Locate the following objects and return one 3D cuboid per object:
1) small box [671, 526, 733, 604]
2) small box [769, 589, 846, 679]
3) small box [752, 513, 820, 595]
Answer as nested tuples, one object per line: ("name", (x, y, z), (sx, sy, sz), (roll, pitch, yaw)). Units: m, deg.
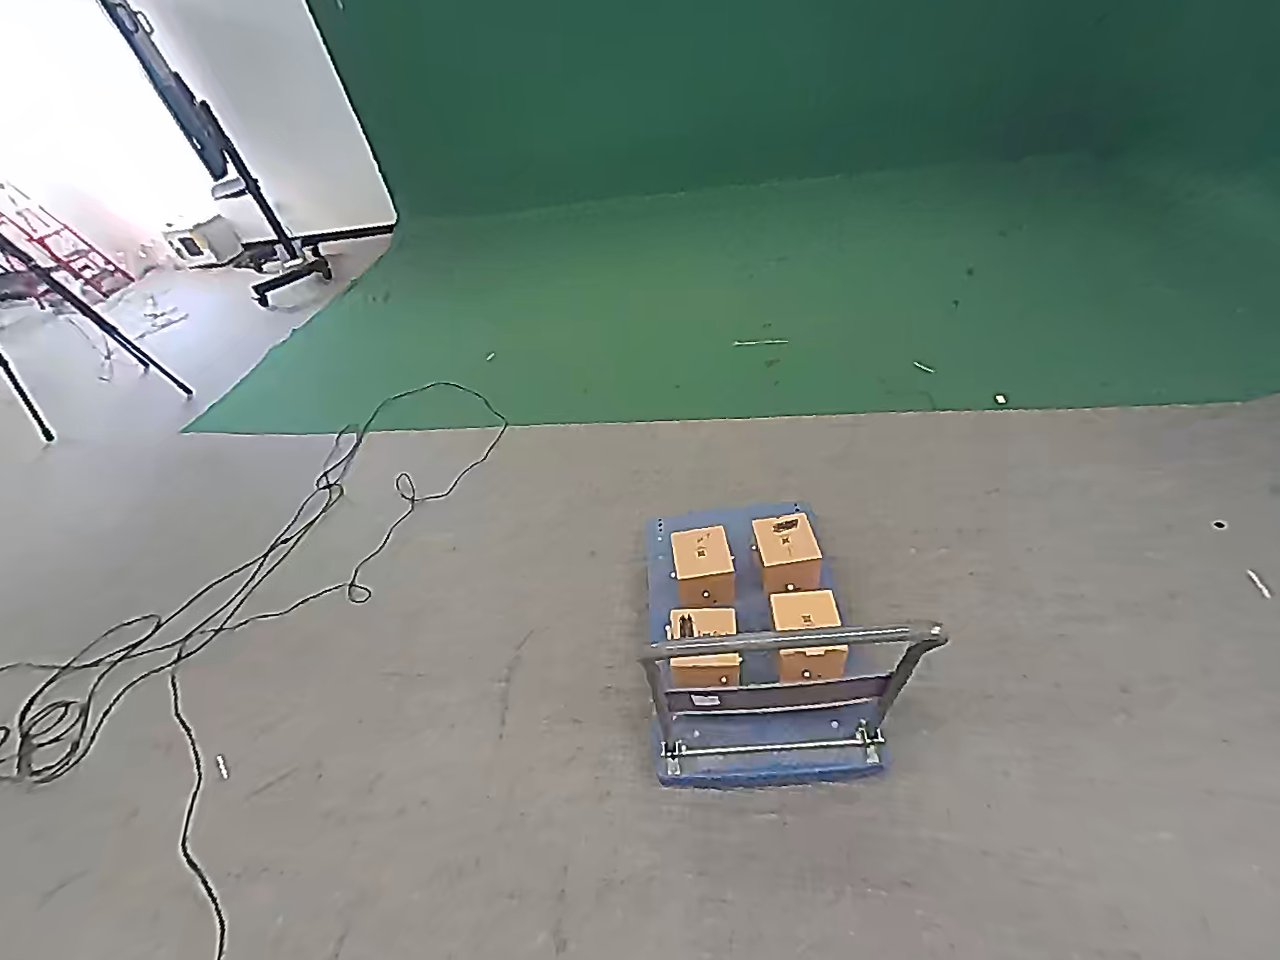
("small box", (0.194, 0.270, 1.678), (0.168, 0.176, 0.179), (-9, 45, 2))
("small box", (0.448, 0.421, 1.476), (0.168, 0.176, 0.179), (-6, 45, 6))
("small box", (0.442, 0.229, 1.666), (0.168, 0.176, 0.179), (-10, 45, 4))
